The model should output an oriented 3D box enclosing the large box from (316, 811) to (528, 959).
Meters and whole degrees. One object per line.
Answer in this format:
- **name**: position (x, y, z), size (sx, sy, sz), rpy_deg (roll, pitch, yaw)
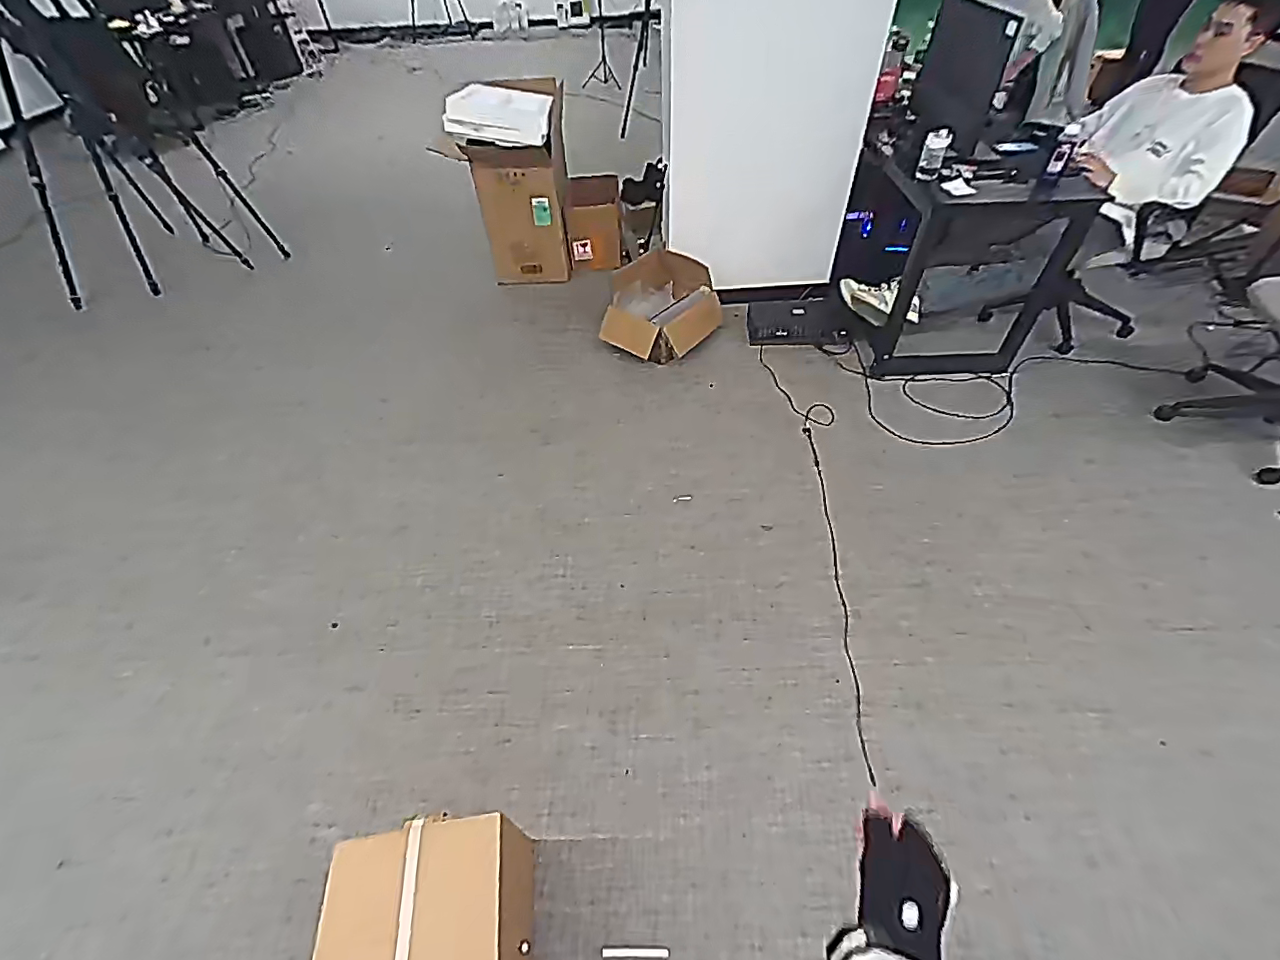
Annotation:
- **large box**: position (-0.392, 0.909, 1.025), size (0.320, 0.320, 0.408), rpy_deg (-8, 49, -3)
